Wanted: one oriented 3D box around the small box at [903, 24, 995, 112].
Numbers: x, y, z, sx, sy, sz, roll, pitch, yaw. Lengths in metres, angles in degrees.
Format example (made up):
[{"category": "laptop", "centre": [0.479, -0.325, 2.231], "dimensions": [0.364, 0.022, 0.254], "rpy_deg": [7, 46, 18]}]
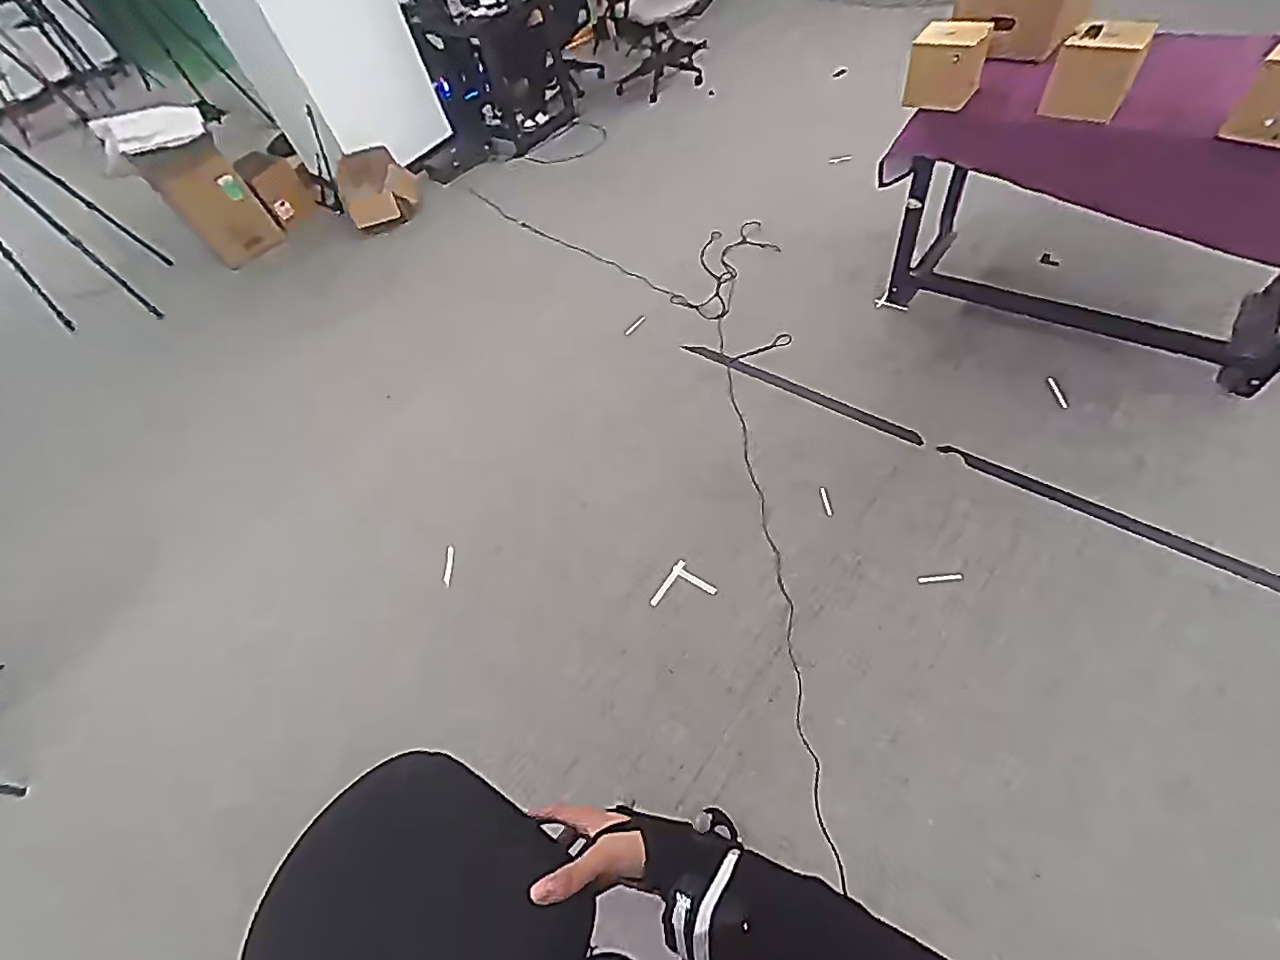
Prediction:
[{"category": "small box", "centre": [0.922, -1.240, 1.630], "dimensions": [0.179, 0.176, 0.168], "rpy_deg": [28, 65, 27]}]
